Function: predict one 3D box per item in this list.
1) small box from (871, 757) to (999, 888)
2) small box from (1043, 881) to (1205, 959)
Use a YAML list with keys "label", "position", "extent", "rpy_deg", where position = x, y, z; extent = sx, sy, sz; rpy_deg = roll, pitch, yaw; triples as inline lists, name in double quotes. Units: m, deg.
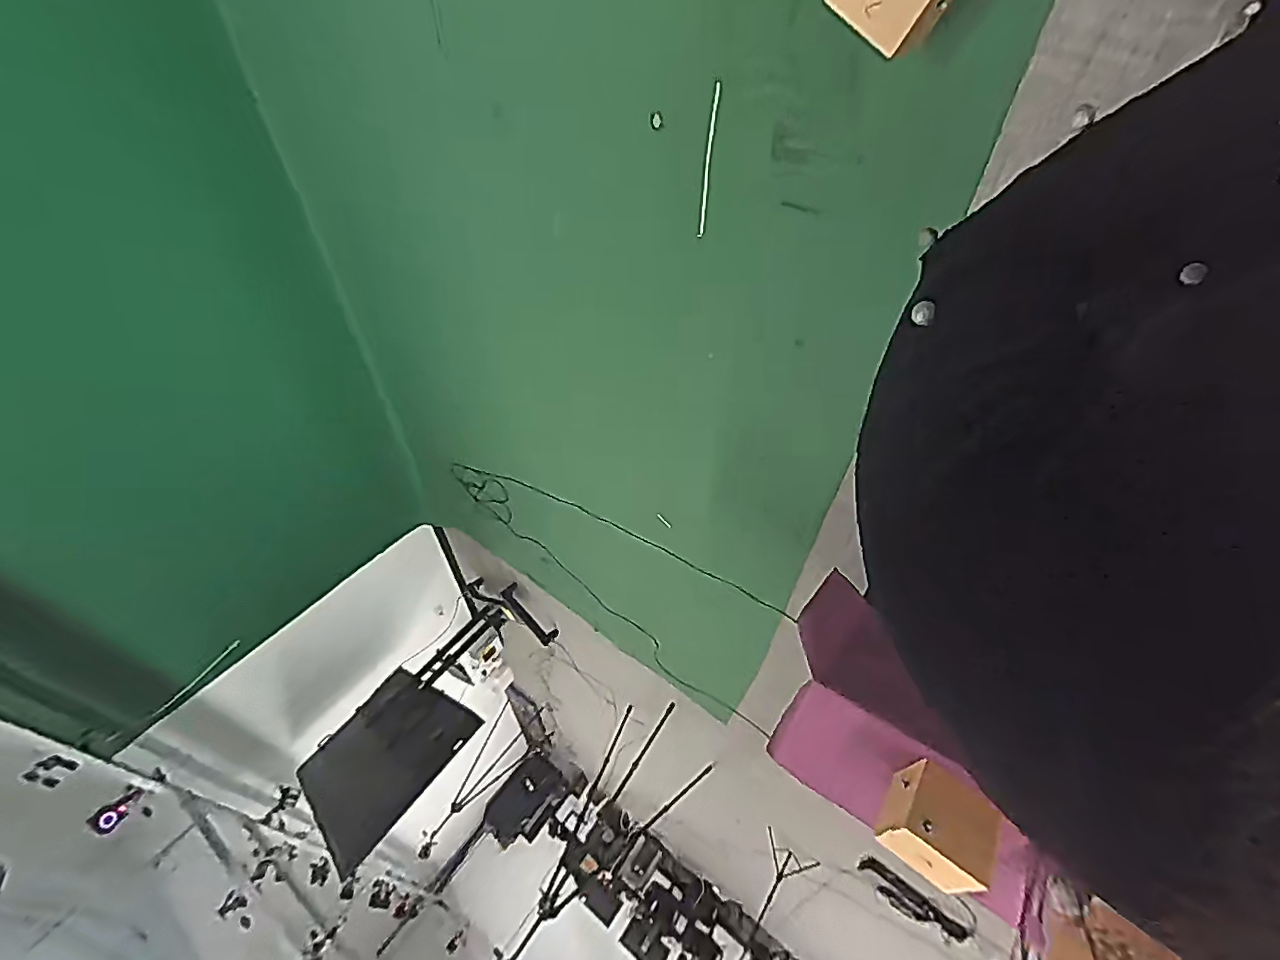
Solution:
- label: "small box"
  position: [0.655, 0.757, 1.200]
  extent: [0.179, 0.176, 0.168]
  rpy_deg: [32, 144, 20]
- label: "small box"
  position: [0.947, 0.929, 1.064]
  extent: [0.179, 0.176, 0.168]
  rpy_deg: [29, 144, 23]
